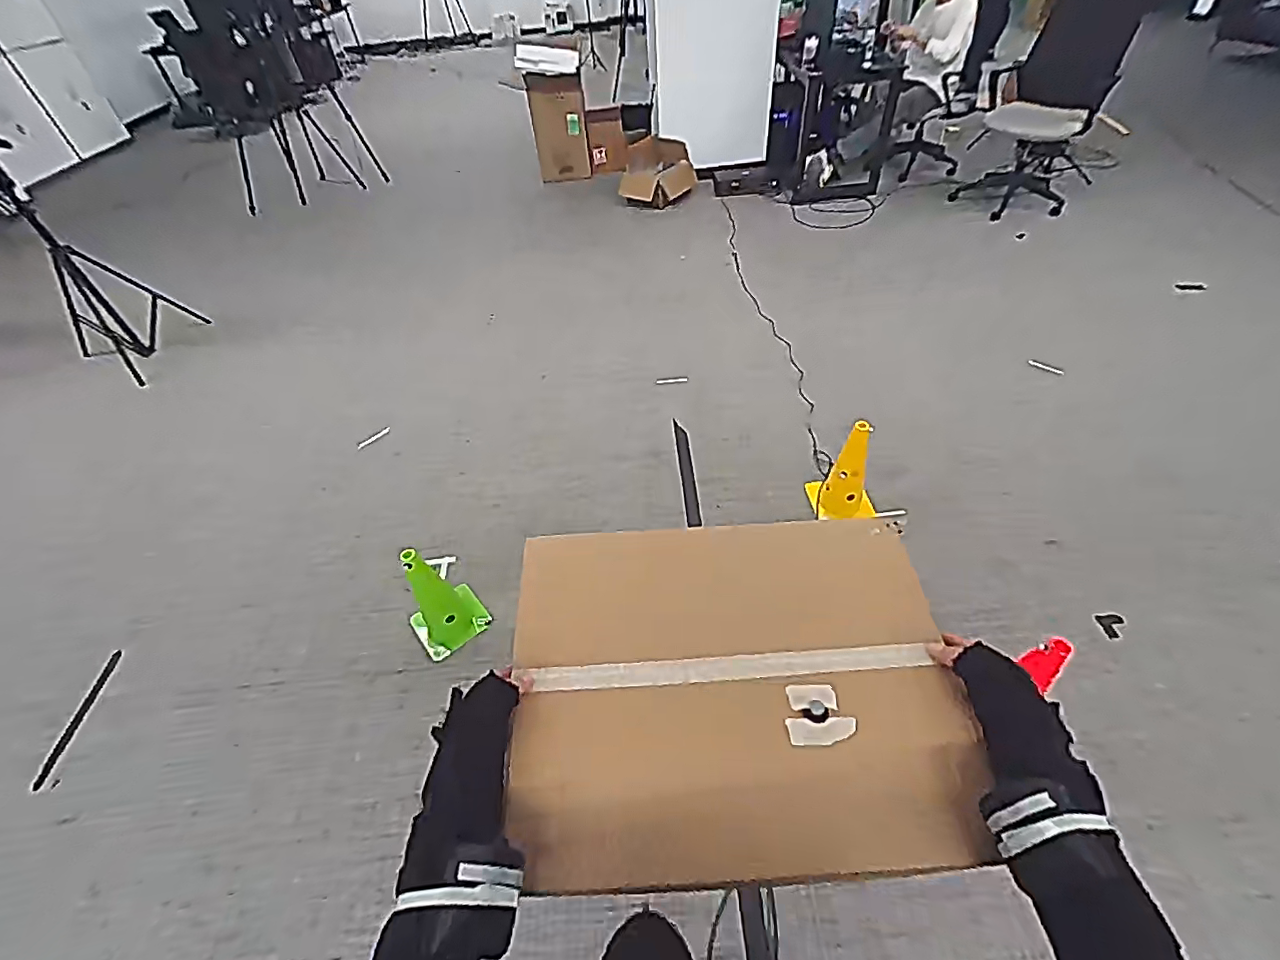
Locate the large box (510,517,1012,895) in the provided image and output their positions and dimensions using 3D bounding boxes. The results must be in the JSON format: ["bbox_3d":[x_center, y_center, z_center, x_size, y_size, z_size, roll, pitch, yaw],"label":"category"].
[{"bbox_3d":[0.088,0.266,0.624,0.408,0.320,0.320,-3,52,-1],"label":"large box"}]

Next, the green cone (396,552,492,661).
[{"bbox_3d":[-0.603,0.322,1.557,0.202,0.368,0.200,-36,52,-23],"label":"green cone"}]
